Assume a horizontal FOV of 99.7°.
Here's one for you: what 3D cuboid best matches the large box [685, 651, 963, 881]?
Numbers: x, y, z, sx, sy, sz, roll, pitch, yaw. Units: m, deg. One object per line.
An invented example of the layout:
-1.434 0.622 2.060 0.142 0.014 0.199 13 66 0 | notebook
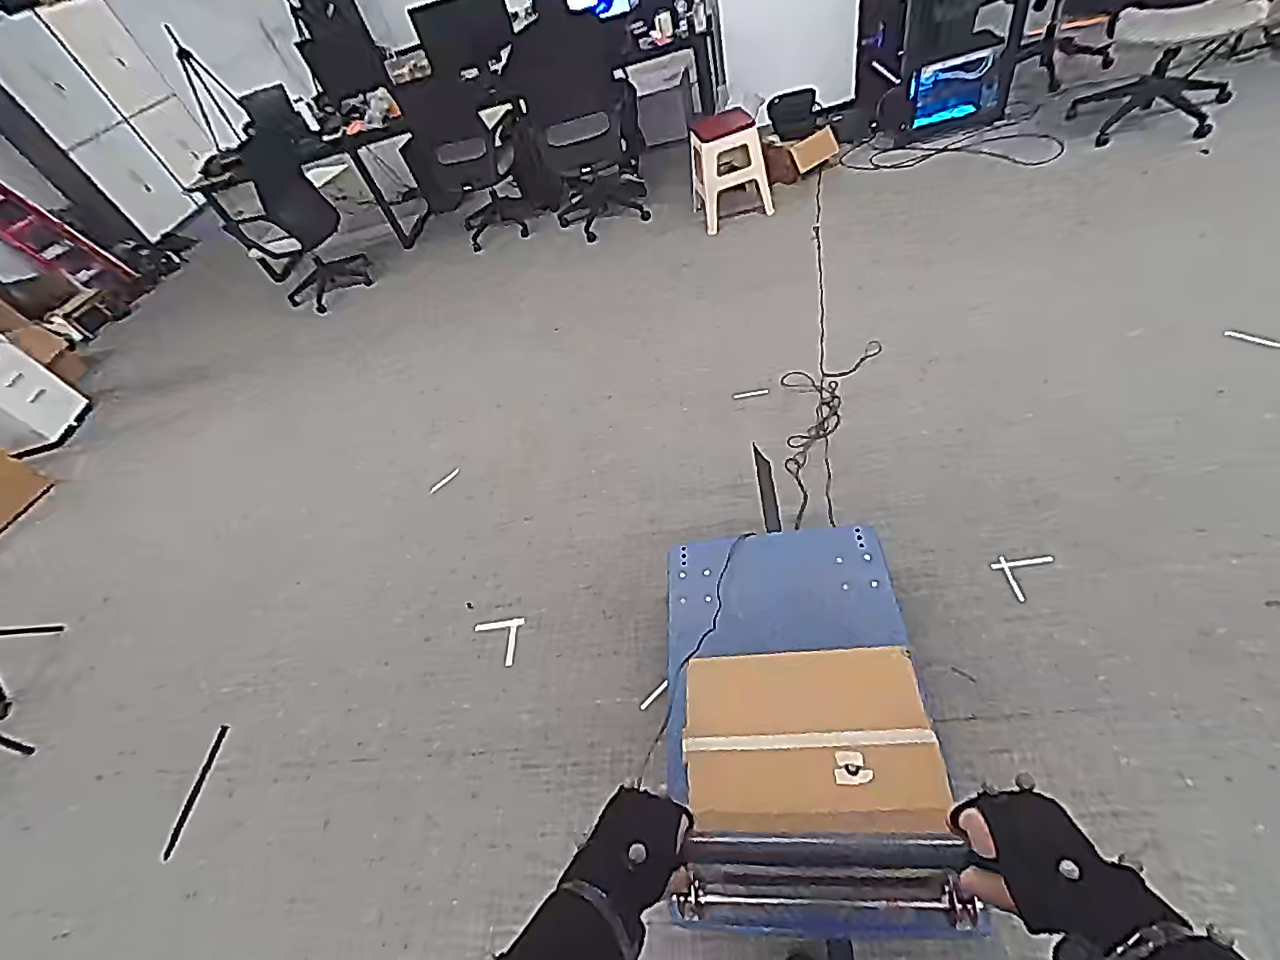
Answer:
0.308 0.543 1.012 0.408 0.320 0.320 -7 49 11 | large box
